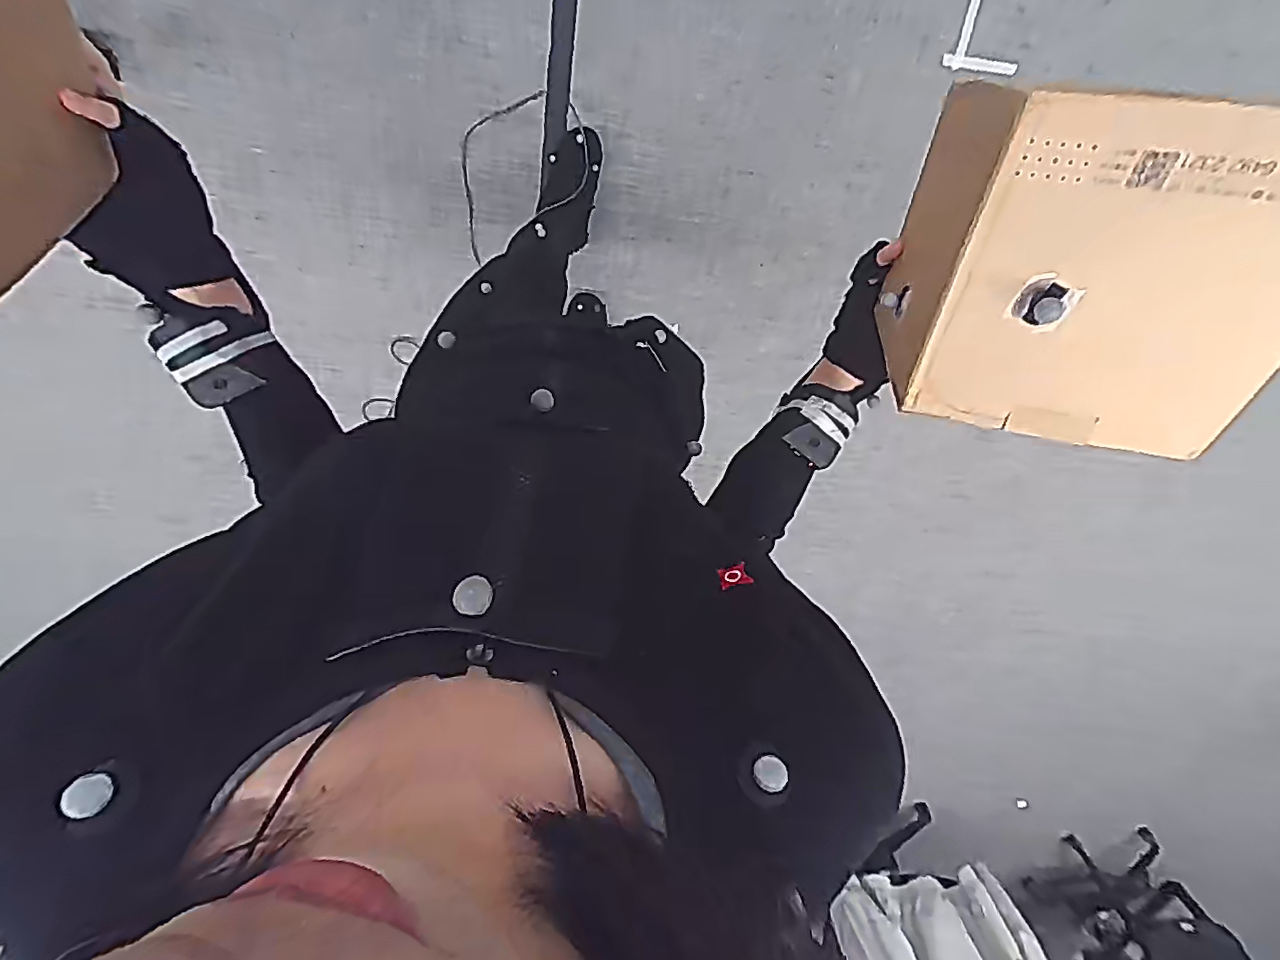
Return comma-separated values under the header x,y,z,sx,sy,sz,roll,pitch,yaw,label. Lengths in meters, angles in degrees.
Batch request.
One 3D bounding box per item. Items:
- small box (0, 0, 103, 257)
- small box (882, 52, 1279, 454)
x,y,z,sx,sy,sz,roll,pitch,yaw,label
-0.358,-0.193,0.192,0.168,0.179,0.176,7,137,-23,small box
0.263,-0.143,0.320,0.168,0.179,0.176,13,130,9,small box
